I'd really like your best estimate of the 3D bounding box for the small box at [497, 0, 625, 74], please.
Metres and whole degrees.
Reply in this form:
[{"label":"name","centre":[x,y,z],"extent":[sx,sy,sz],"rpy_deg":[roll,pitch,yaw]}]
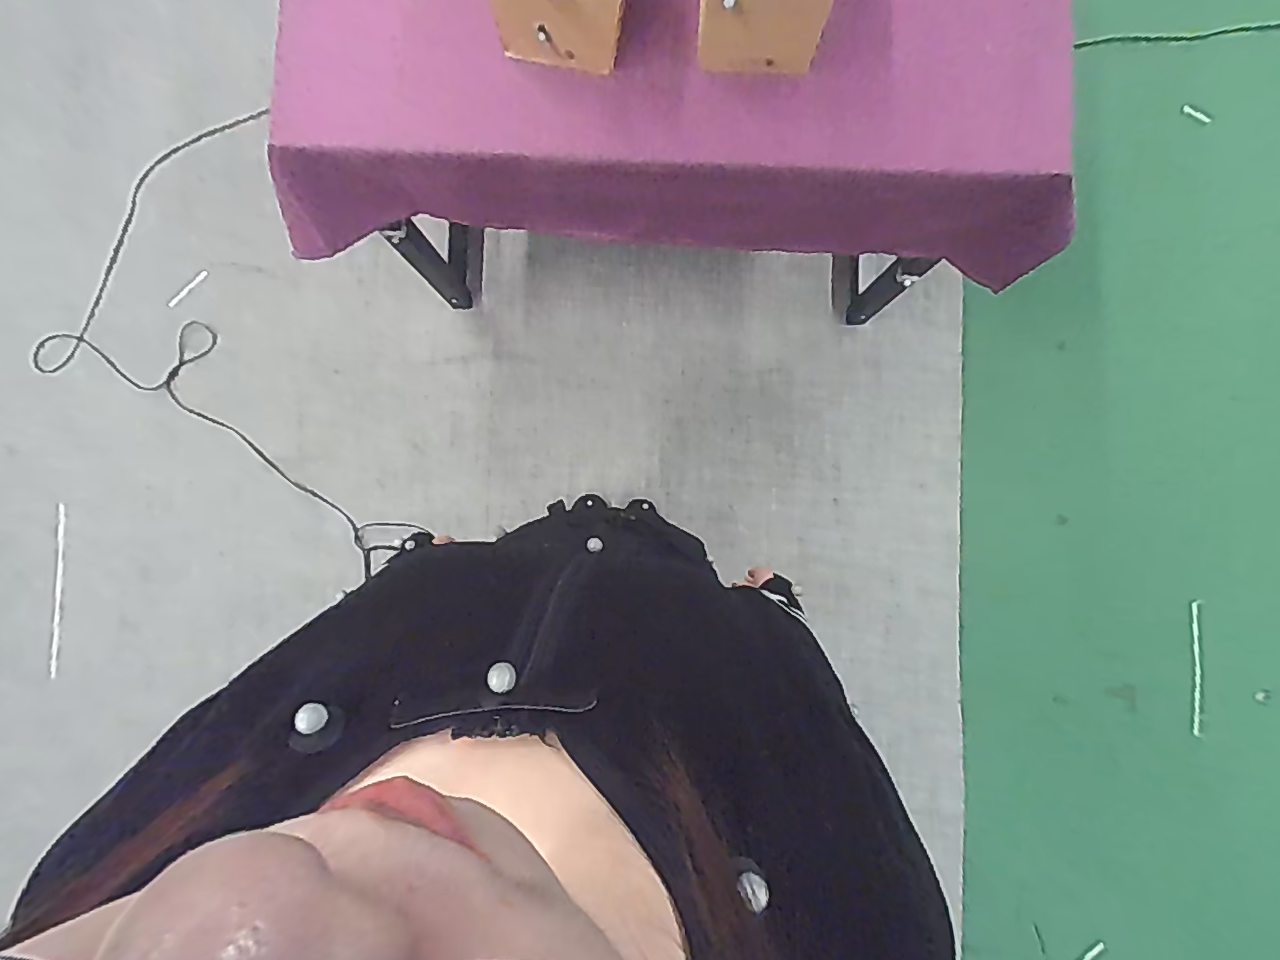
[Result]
[{"label":"small box","centre":[-0.109,-0.725,0.754],"extent":[0.168,0.176,0.179],"rpy_deg":[10,88,0]}]
